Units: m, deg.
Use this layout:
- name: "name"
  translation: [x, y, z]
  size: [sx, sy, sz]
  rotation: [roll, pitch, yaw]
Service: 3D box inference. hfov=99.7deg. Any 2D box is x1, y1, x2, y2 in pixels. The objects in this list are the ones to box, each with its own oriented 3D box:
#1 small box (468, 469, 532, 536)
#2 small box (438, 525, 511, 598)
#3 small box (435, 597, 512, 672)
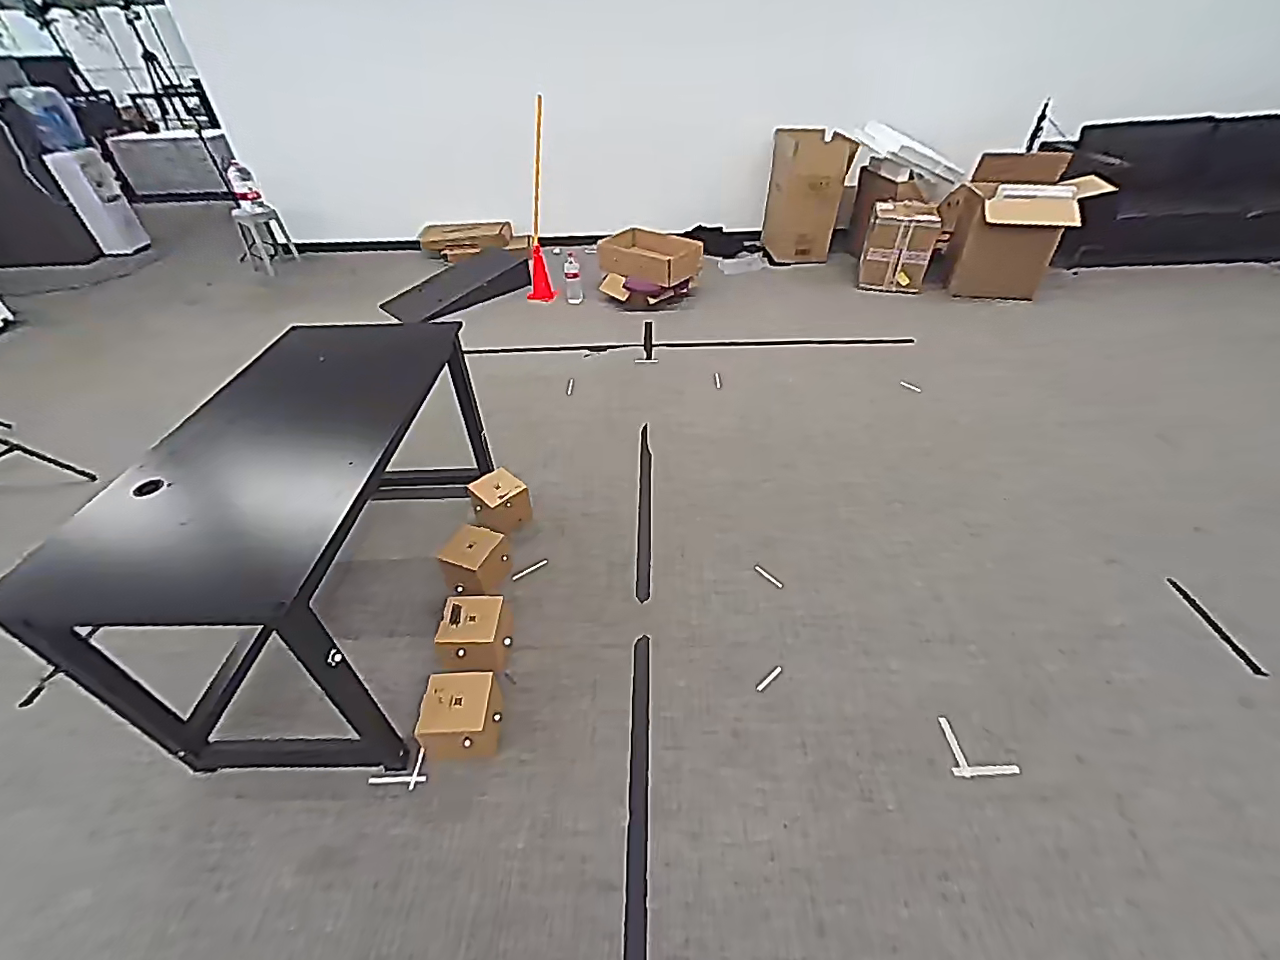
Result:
- name: "small box"
  translation: [-0.549, 0.092, 2.132]
  size: [0.179, 0.176, 0.168]
  rotation: [31, 51, 32]
- name: "small box"
  translation: [-0.574, 0.292, 1.905]
  size: [0.168, 0.176, 0.179]
  rotation: [12, 44, 17]
- name: "small box"
  translation: [-0.509, 0.483, 1.680]
  size: [0.179, 0.176, 0.168]
  rotation: [-1, 41, 0]
